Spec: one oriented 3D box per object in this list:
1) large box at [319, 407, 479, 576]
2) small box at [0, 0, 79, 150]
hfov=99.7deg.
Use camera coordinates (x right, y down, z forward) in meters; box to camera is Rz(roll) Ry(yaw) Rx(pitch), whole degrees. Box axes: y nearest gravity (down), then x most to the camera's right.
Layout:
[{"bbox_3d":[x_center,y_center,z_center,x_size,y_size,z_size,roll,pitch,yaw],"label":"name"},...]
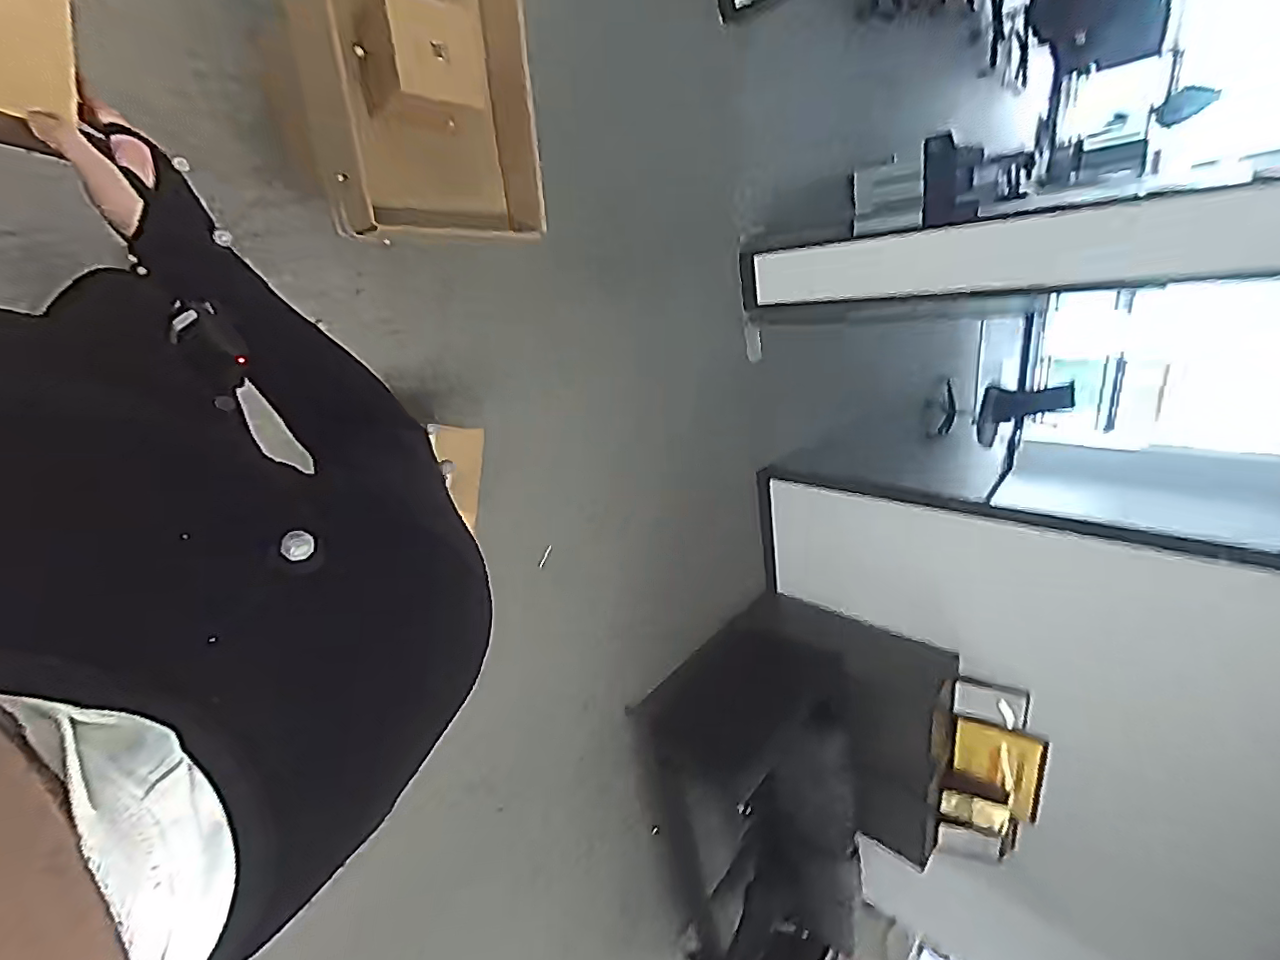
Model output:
[{"bbox_3d":[-0.679,0.020,1.512,0.320,0.320,0.408,1,98,-48],"label":"large box"},{"bbox_3d":[-0.551,-0.381,0.406,0.168,0.176,0.179,-6,109,-47],"label":"small box"}]
